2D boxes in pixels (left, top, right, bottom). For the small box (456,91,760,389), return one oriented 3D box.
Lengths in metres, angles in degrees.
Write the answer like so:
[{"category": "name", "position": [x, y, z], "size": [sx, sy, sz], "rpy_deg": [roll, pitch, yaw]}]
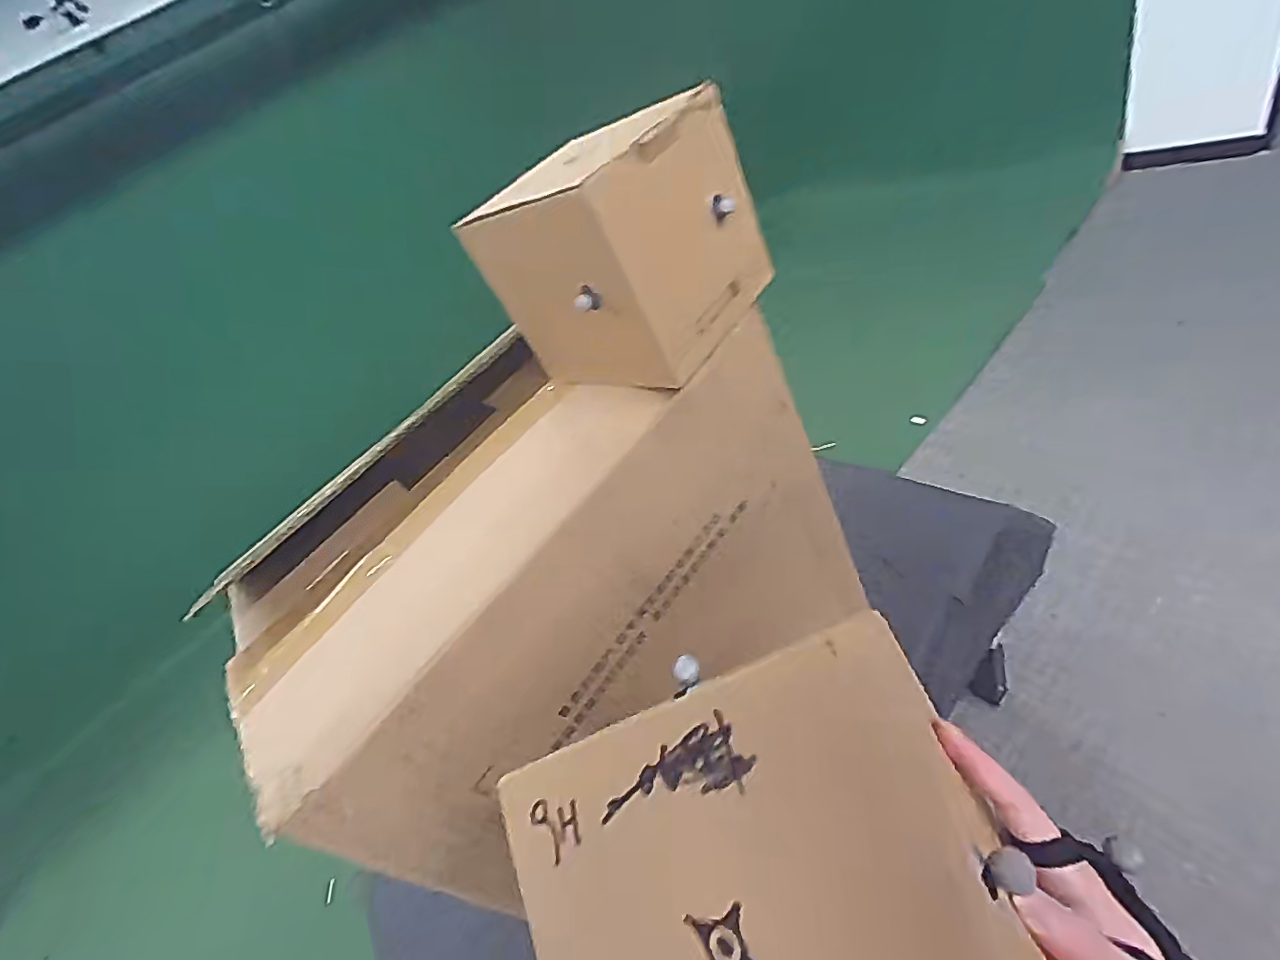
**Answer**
[{"category": "small box", "position": [-0.018, -0.197, 0.482], "size": [0.179, 0.176, 0.168], "rpy_deg": [12, 53, 43]}]
